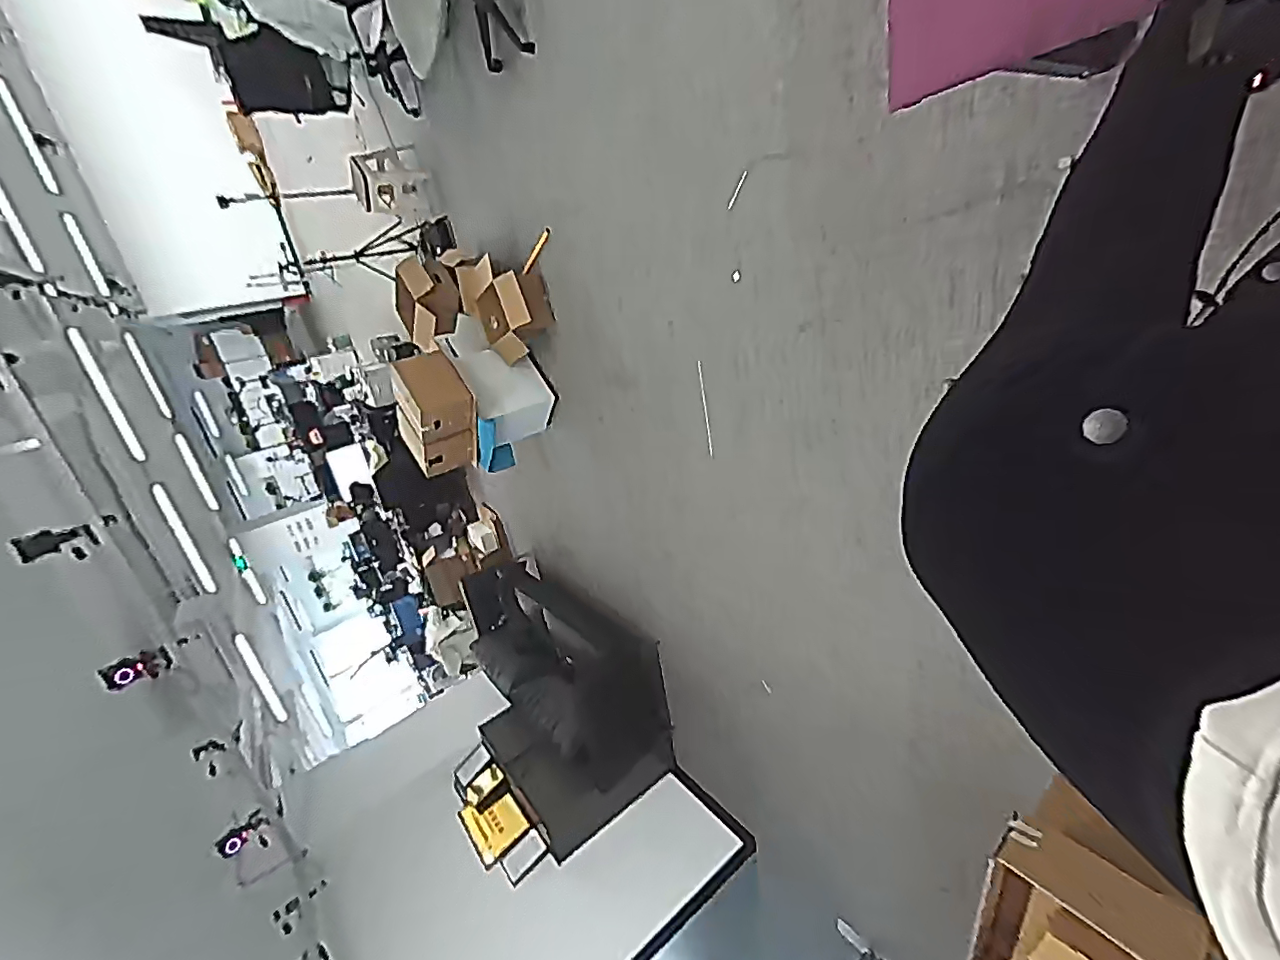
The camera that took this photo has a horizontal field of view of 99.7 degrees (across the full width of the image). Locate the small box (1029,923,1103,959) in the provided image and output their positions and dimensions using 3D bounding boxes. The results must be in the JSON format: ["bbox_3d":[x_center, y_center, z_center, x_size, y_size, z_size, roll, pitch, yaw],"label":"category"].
[{"bbox_3d":[1.149,1.363,1.450,0.168,0.176,0.179,21,126,49],"label":"small box"}]
